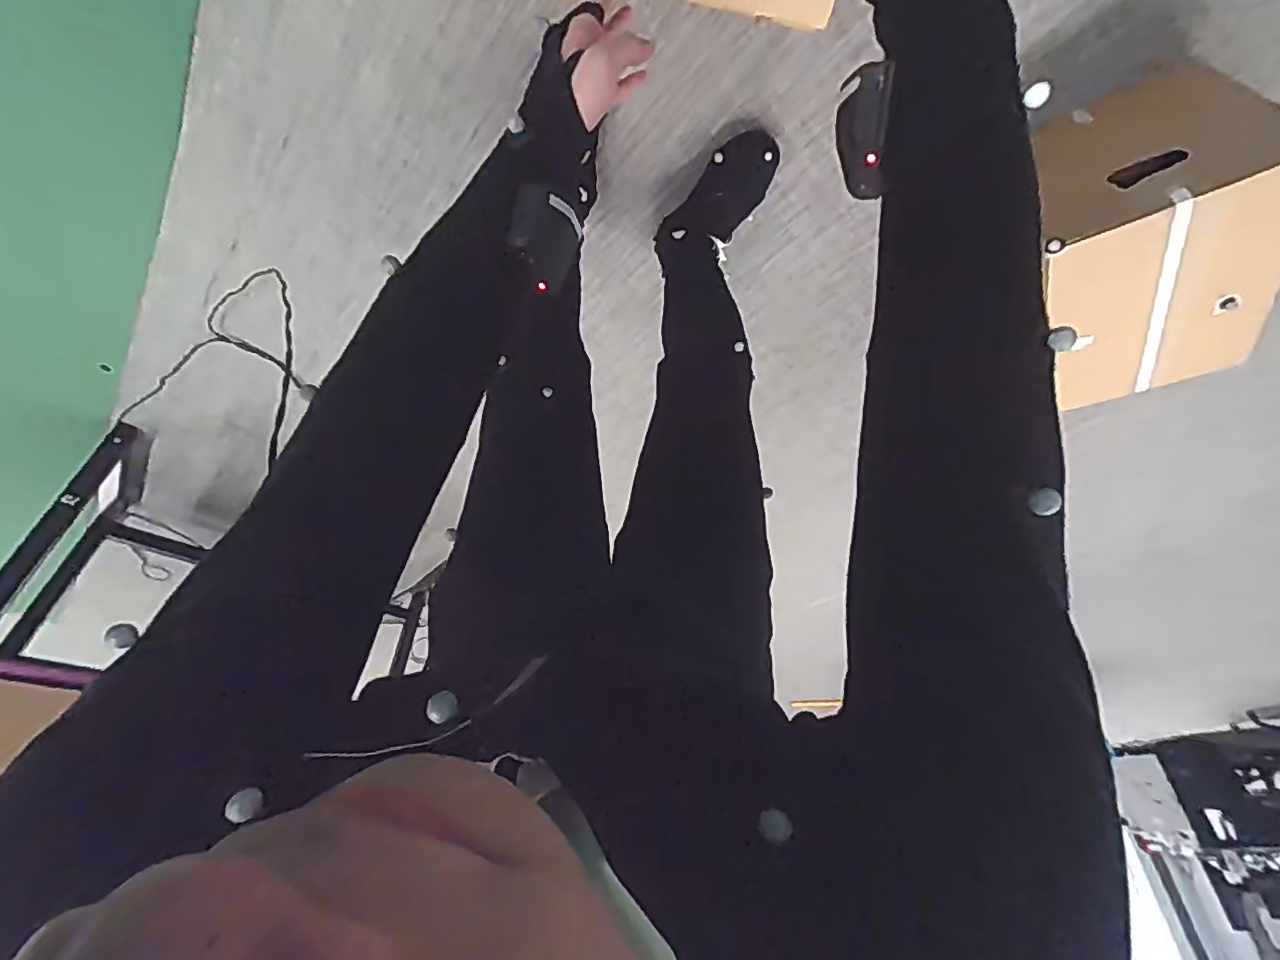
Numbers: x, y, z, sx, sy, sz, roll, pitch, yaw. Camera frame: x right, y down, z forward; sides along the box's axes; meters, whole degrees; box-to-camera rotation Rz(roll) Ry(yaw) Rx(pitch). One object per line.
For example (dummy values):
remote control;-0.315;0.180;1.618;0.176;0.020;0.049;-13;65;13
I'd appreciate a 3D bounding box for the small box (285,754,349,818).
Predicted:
small box;-1.098;1.023;1.802;0.168;0.176;0.179;28;136;-31
